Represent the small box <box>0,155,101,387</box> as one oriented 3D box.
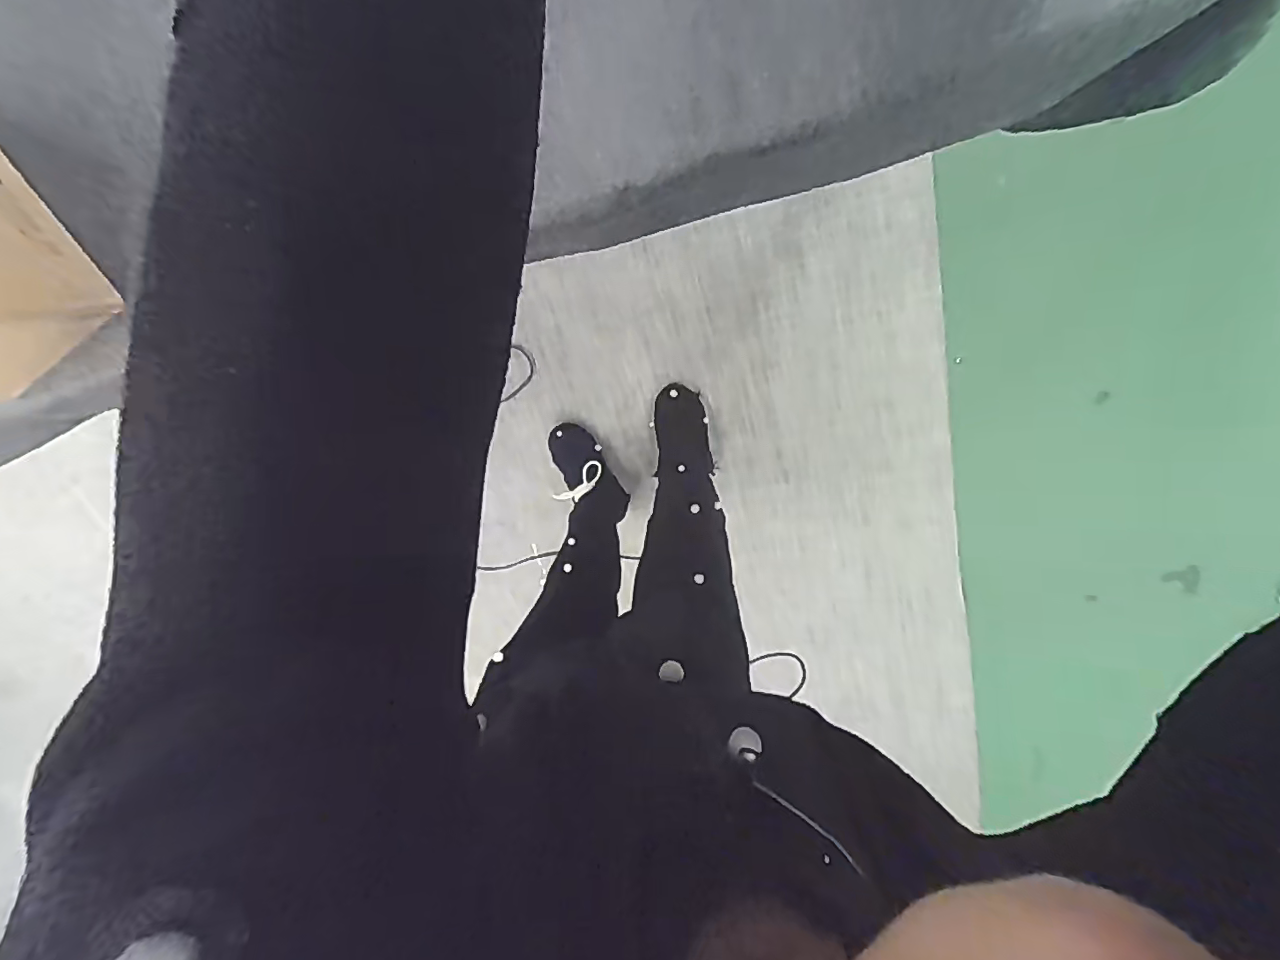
[{"bbox_3d":[-0.534,-0.148,0.360,0.179,0.176,0.168,-24,109,18],"label":"small box"}]
